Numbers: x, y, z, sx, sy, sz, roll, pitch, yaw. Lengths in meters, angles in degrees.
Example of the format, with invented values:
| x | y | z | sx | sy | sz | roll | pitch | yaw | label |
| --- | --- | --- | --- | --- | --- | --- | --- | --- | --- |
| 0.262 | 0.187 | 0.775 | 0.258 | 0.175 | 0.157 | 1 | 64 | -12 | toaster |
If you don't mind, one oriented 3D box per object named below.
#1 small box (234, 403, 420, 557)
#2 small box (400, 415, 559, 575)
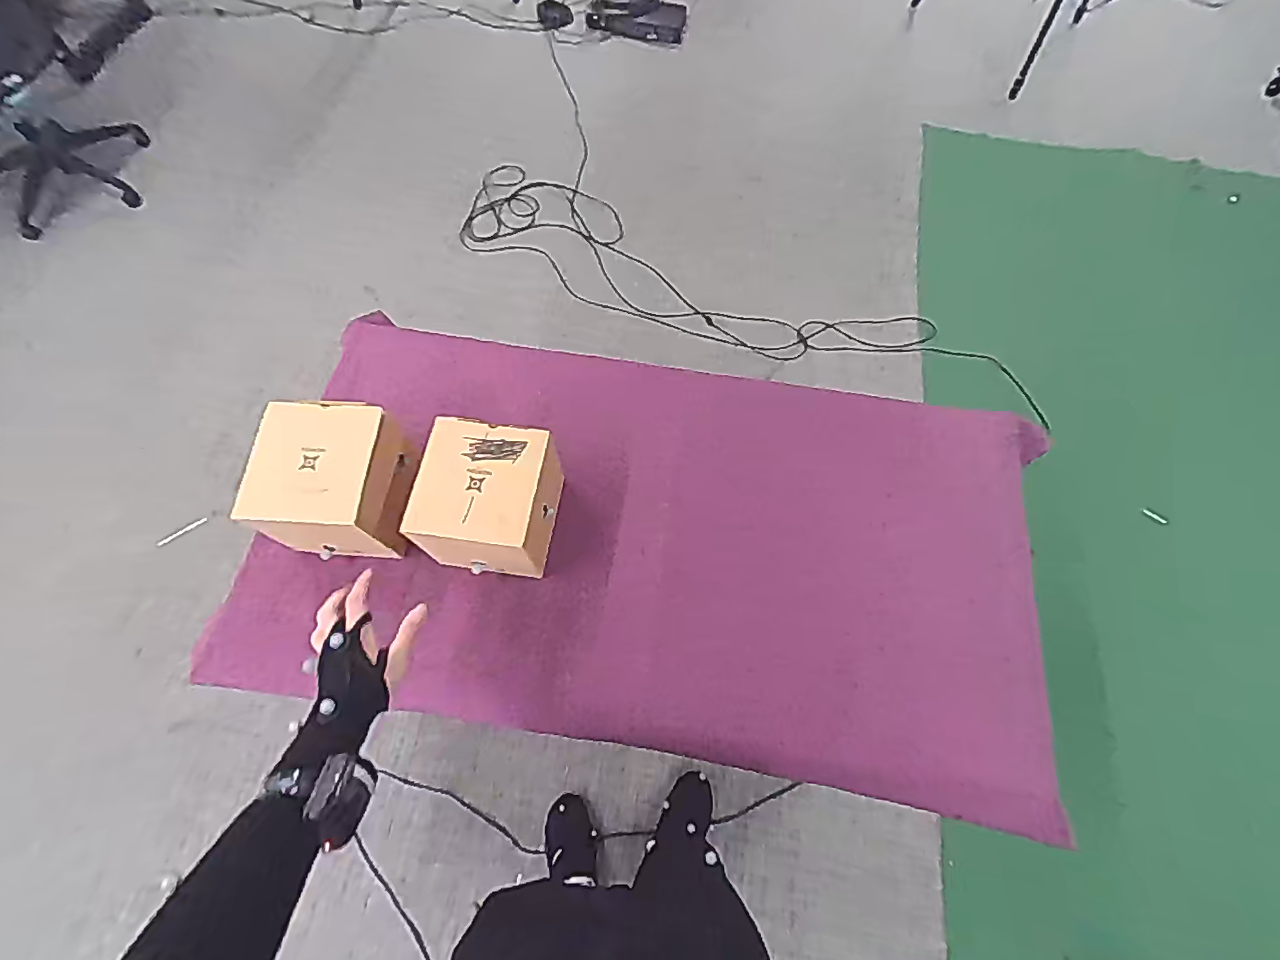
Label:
| x | y | z | sx | sy | sz | roll | pitch | yaw | label |
| --- | --- | --- | --- | --- | --- | --- | --- | --- | --- |
| -0.448 | 0.005 | 0.814 | 0.168 | 0.176 | 0.179 | 3 | 67 | 2 | small box |
| -0.221 | 0.028 | 0.803 | 0.168 | 0.176 | 0.179 | 8 | 68 | 4 | small box |
